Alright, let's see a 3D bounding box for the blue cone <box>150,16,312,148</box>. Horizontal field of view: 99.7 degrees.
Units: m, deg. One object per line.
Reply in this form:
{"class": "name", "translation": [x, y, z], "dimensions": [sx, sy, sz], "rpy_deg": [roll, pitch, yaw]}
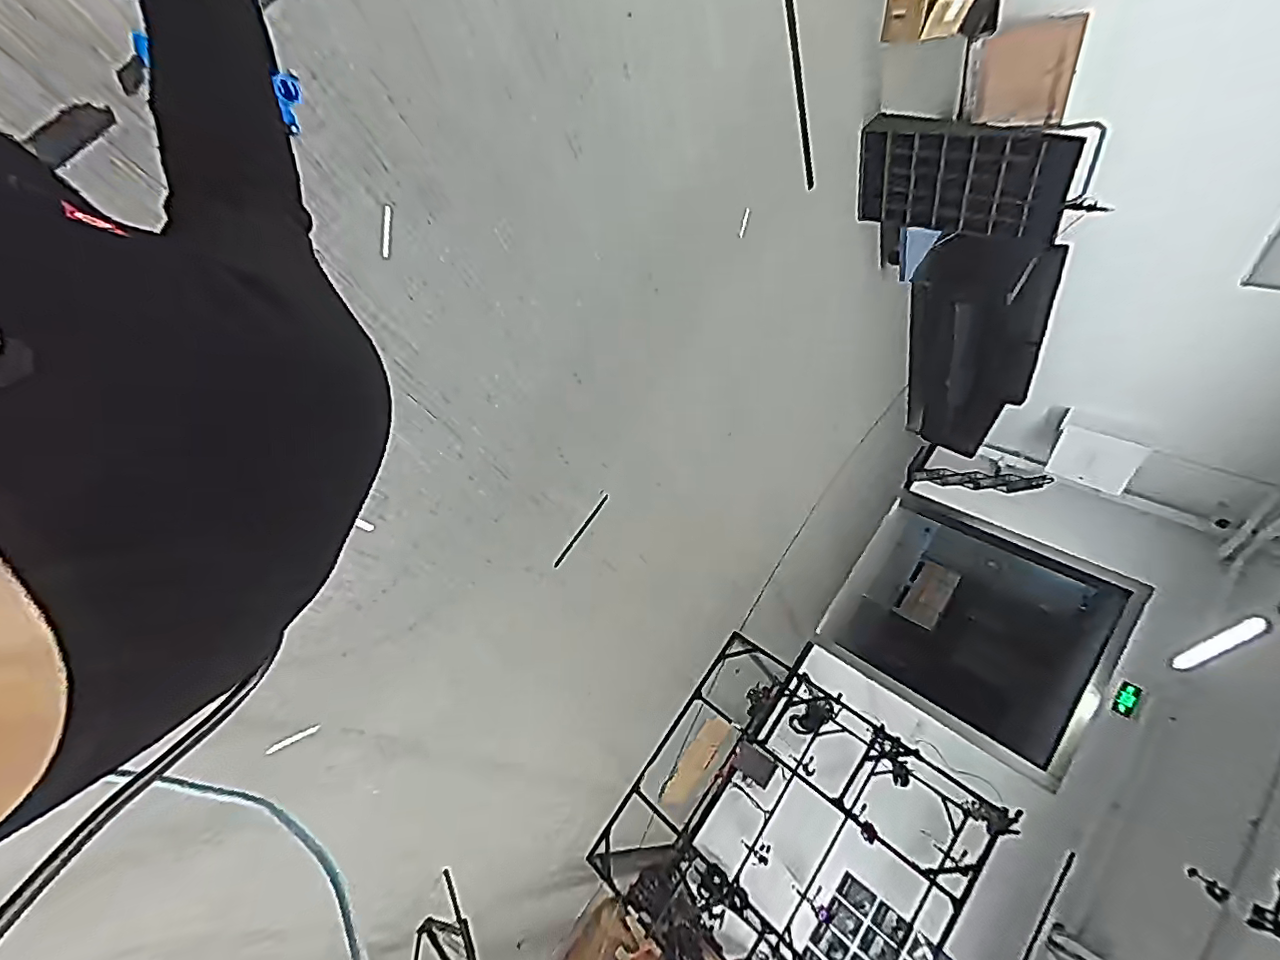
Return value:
{"class": "blue cone", "translation": [-0.682, -0.701, 0.958], "dimensions": [0.192, 0.380, 0.193], "rpy_deg": [-39, 140, -29]}
